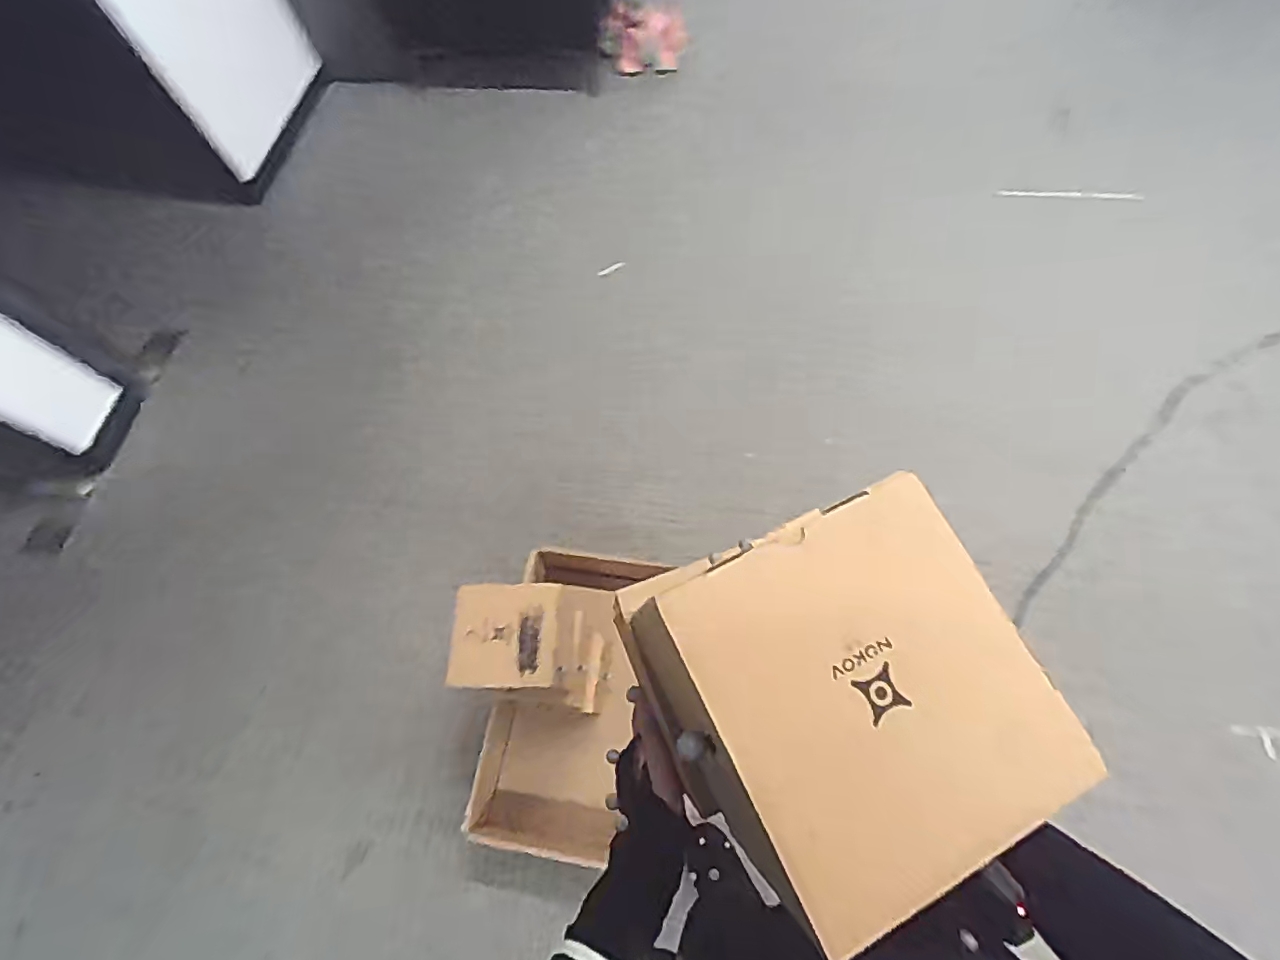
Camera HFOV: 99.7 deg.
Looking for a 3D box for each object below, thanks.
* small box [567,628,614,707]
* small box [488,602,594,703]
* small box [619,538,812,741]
[{"bbox_3d":[-0.165,0.425,1.249,0.179,0.176,0.168,7,69,6],"label":"small box"},{"bbox_3d":[-0.193,0.354,1.104,0.168,0.176,0.179,2,69,5],"label":"small box"},{"bbox_3d":[0.077,0.189,0.659,0.168,0.176,0.179,-17,74,-9],"label":"small box"}]
